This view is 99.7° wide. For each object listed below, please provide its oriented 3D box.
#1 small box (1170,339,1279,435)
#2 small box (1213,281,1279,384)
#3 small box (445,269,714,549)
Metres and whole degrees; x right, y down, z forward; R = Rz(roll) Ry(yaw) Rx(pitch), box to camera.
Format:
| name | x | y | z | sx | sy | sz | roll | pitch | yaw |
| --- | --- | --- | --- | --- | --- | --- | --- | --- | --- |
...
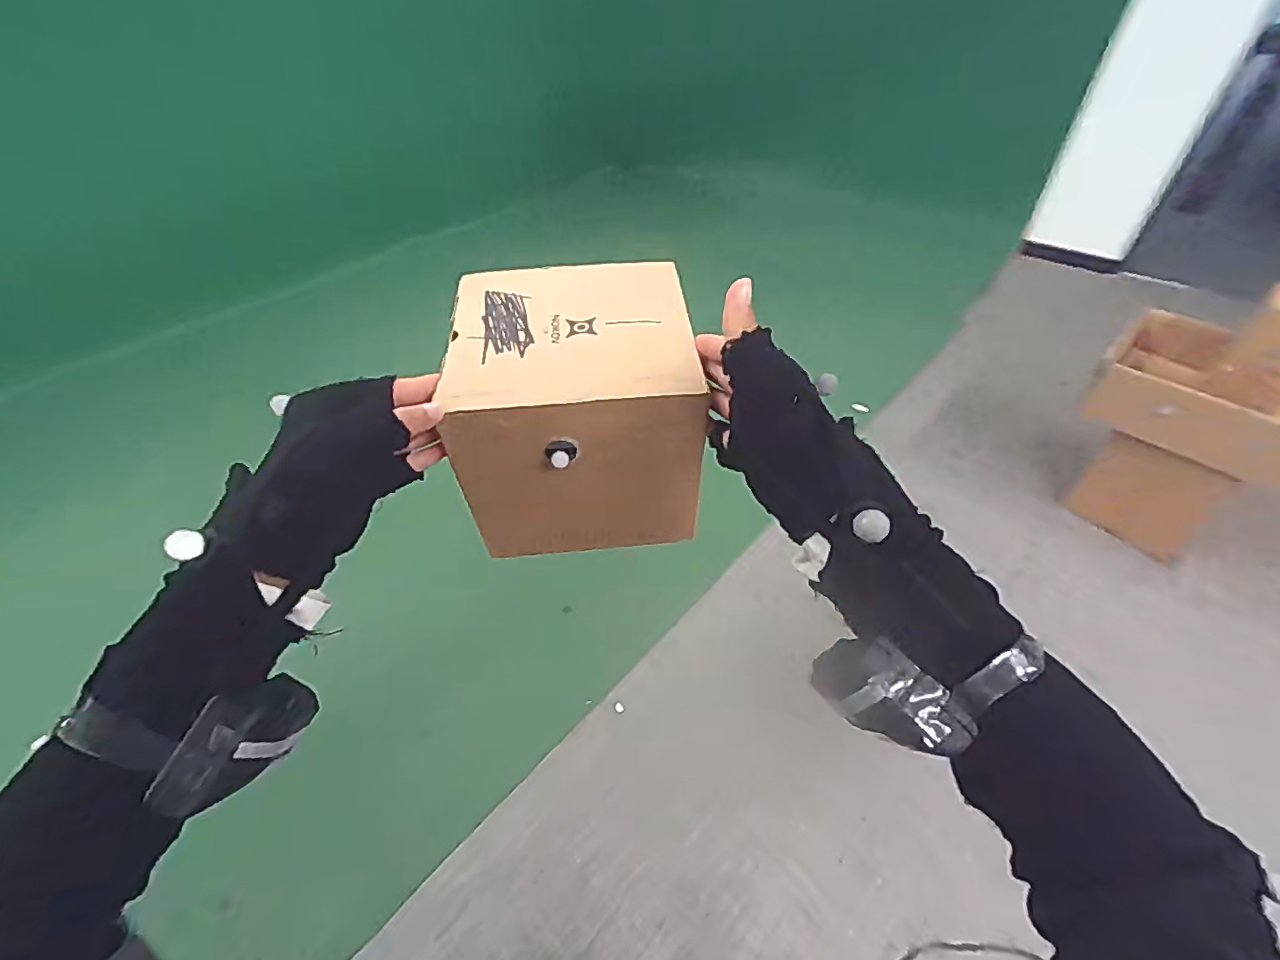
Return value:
| name | x | y | z | sx | sy | sz | roll | pitch | yaw |
| --- | --- | --- | --- | --- | --- | --- | --- | --- | --- |
| small box | 1.617 | -0.253 | 1.483 | 0.168 | 0.176 | 0.179 | 36 | 56 | 29 |
| small box | 1.620 | -0.368 | 1.366 | 0.179 | 0.176 | 0.168 | -37 | 57 | -27 |
| small box | -0.041 | -0.055 | 0.454 | 0.179 | 0.176 | 0.168 | -3 | 50 | -2 |
